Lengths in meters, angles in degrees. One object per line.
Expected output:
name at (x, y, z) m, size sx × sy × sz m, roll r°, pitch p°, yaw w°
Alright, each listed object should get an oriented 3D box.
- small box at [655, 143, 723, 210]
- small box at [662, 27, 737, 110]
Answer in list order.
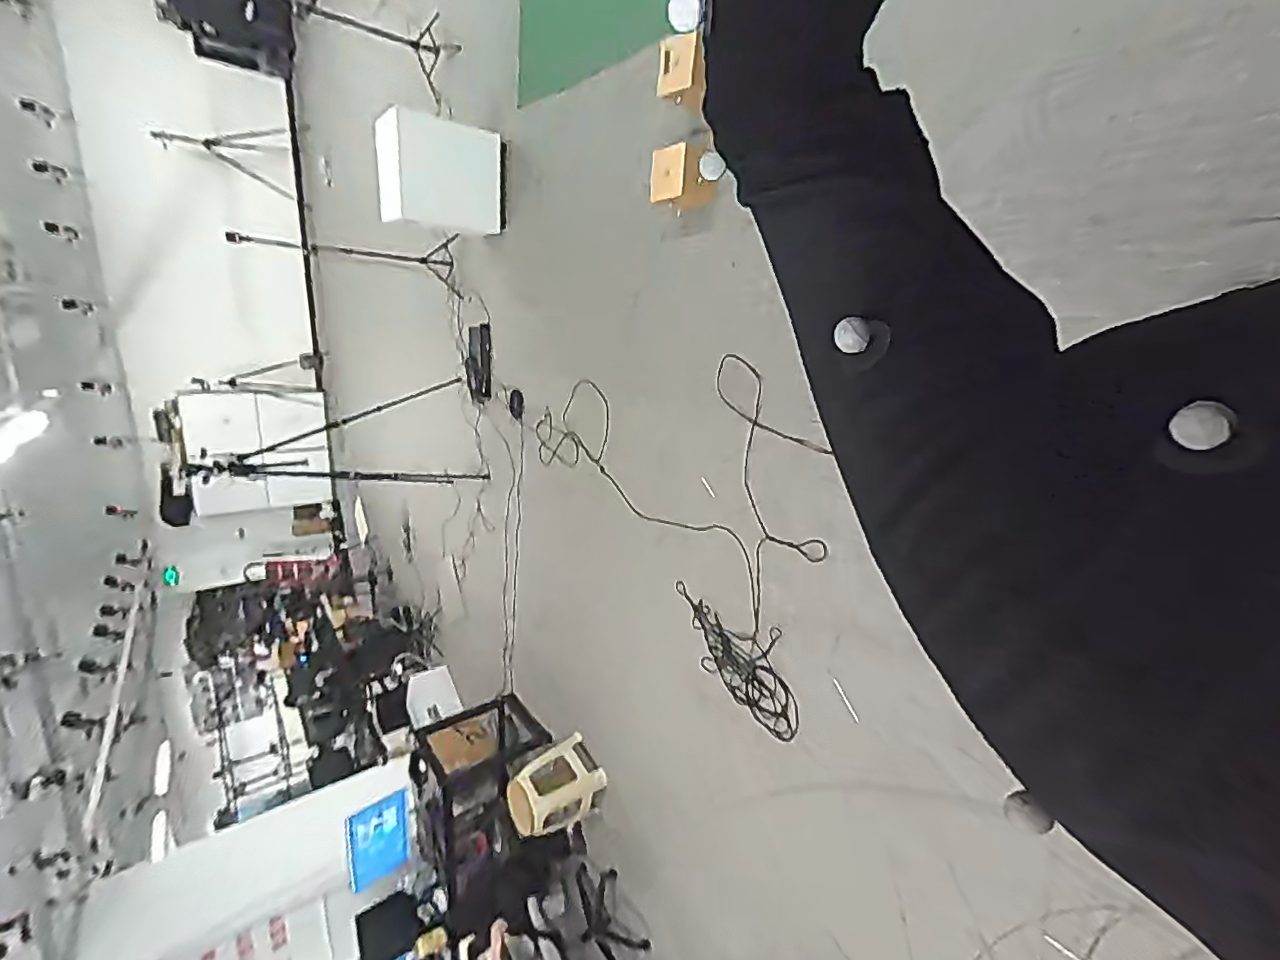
small box at (0.177, -1.082, 1.937) m, size 0.179 × 0.176 × 0.168 m, roll 21°, pitch 113°, yaw 49°
small box at (0.201, -1.394, 1.847) m, size 0.179 × 0.176 × 0.168 m, roll 26°, pitch 116°, yaw 46°
